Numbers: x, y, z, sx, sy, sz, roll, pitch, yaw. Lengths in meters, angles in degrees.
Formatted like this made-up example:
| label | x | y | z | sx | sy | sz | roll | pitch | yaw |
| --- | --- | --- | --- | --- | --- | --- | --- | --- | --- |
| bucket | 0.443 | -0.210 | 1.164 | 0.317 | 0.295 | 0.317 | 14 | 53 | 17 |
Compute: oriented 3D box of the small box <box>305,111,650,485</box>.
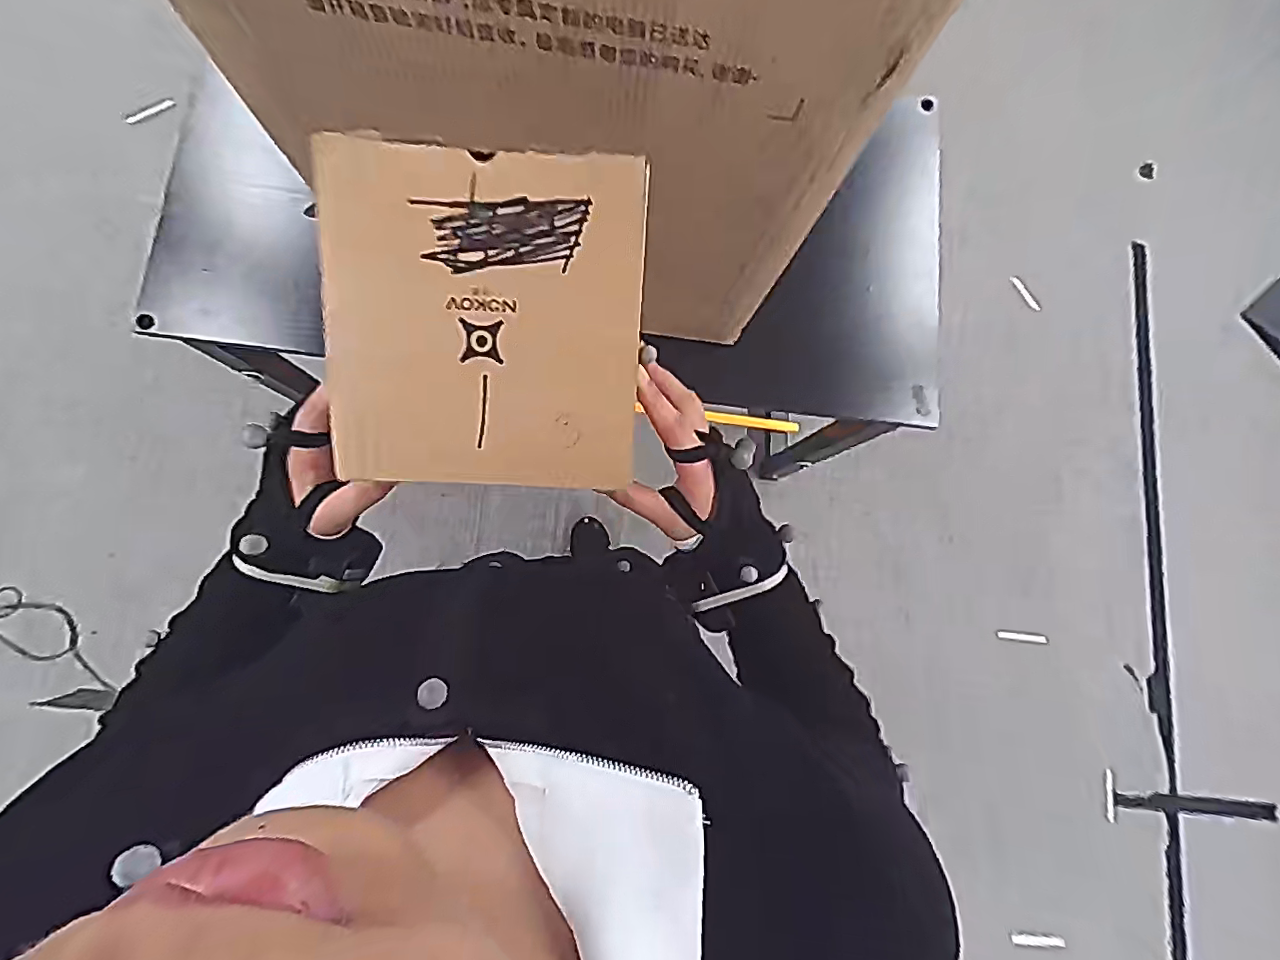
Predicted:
| label | x | y | z | sx | sy | sz | roll | pitch | yaw |
| --- | --- | --- | --- | --- | --- | --- | --- | --- | --- |
| small box | -0.086 | -0.102 | 0.354 | 0.168 | 0.176 | 0.179 | 2 | 103 | -3 |
